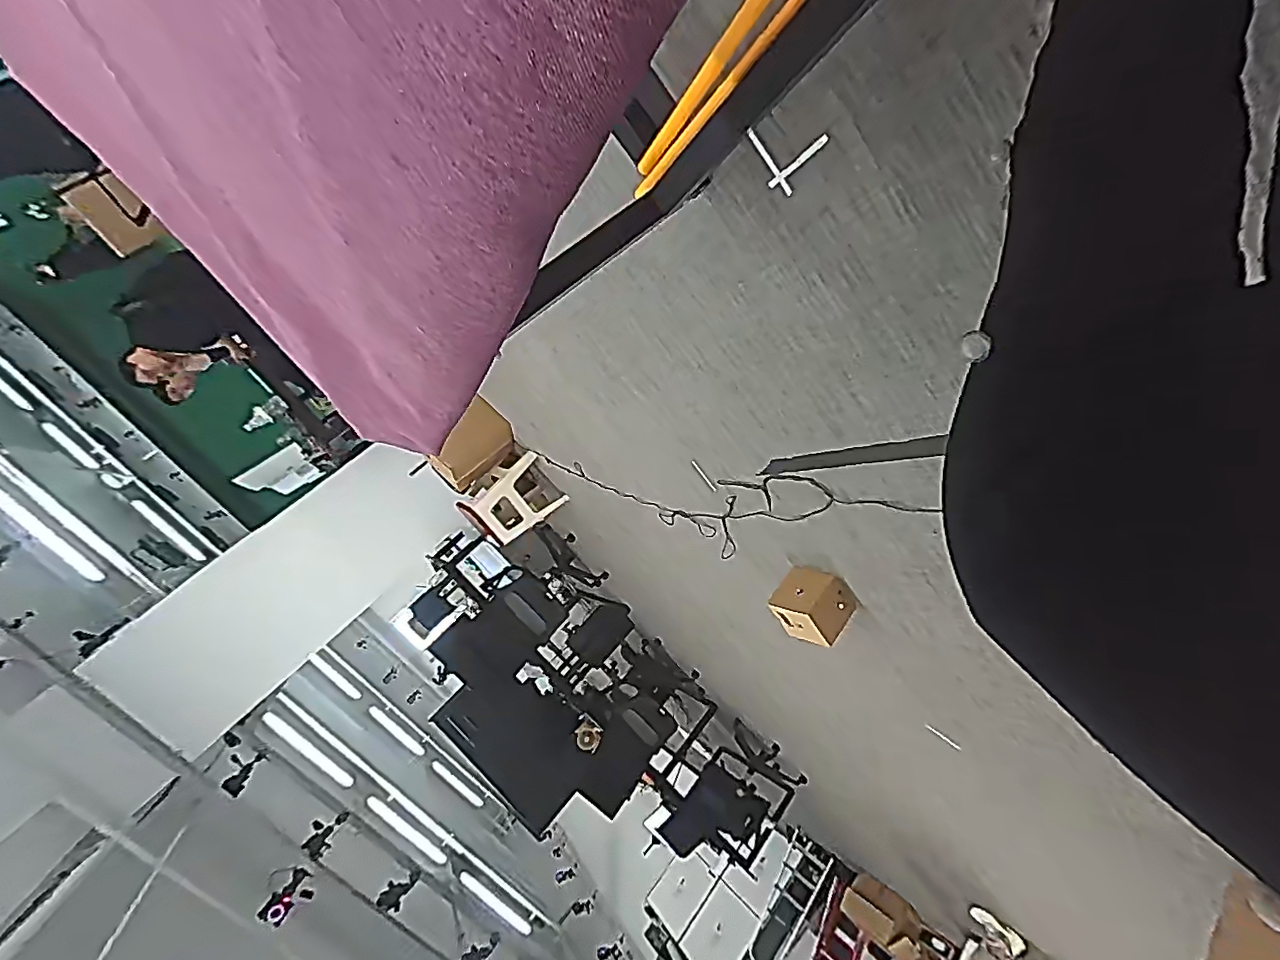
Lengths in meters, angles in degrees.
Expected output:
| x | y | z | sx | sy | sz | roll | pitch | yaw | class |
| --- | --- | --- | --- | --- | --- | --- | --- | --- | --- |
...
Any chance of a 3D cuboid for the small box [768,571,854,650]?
| x | y | z | sx | sy | sz | roll | pitch | yaw | class |
| --- | --- | --- | --- | --- | --- | --- | --- | --- | --- |
| 0.559 | 0.417 | 1.764 | 0.168 | 0.176 | 0.179 | 53 | 155 | -21 | small box |
